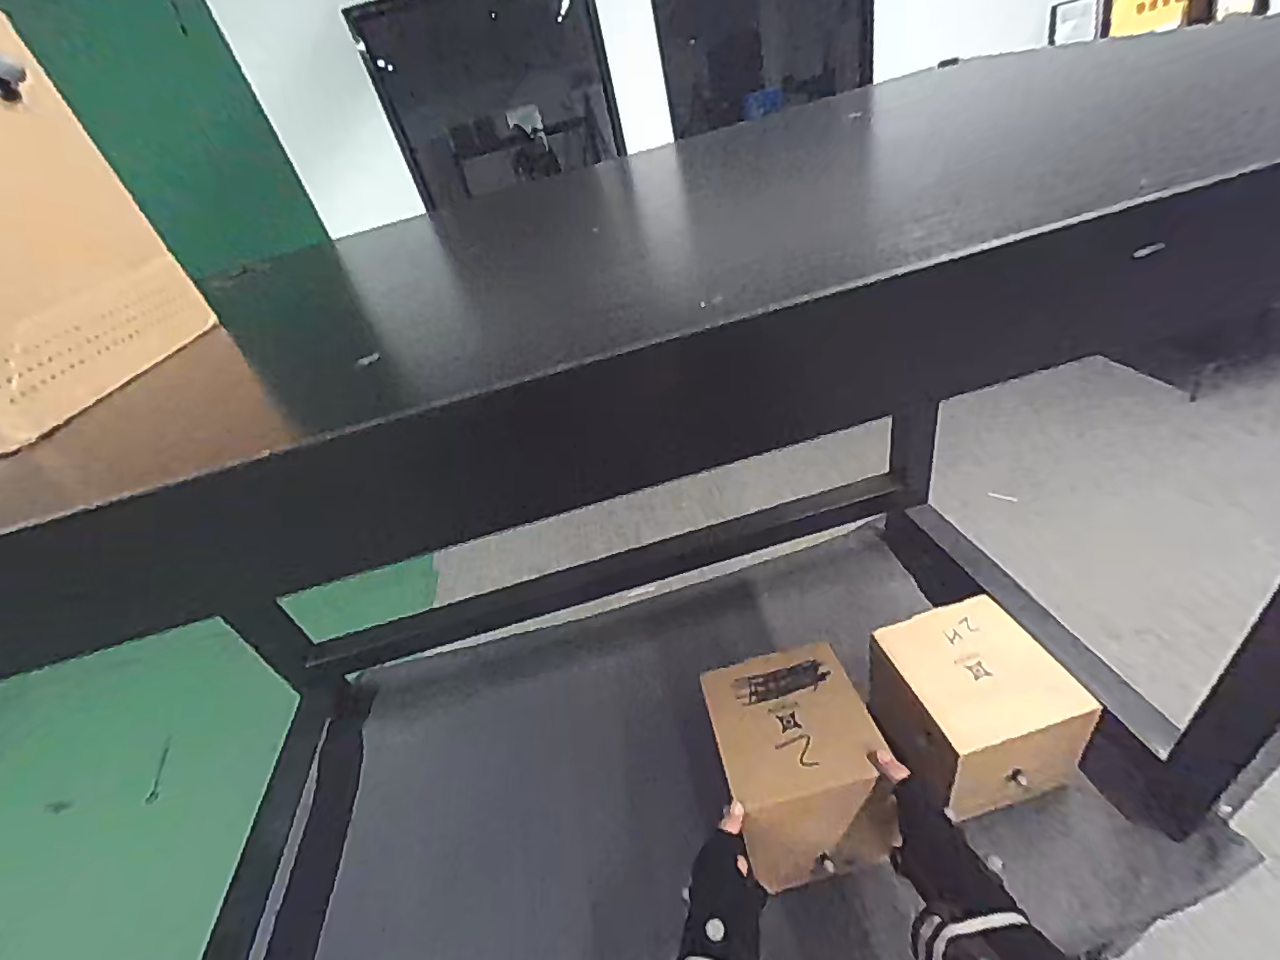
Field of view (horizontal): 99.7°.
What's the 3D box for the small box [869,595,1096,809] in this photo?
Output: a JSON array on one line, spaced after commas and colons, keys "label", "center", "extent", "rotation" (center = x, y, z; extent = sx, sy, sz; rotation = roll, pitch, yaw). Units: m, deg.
[{"label": "small box", "center": [0.415, 0.285, 0.689], "extent": [0.168, 0.176, 0.179], "rotation": [-18, 34, -3]}]
